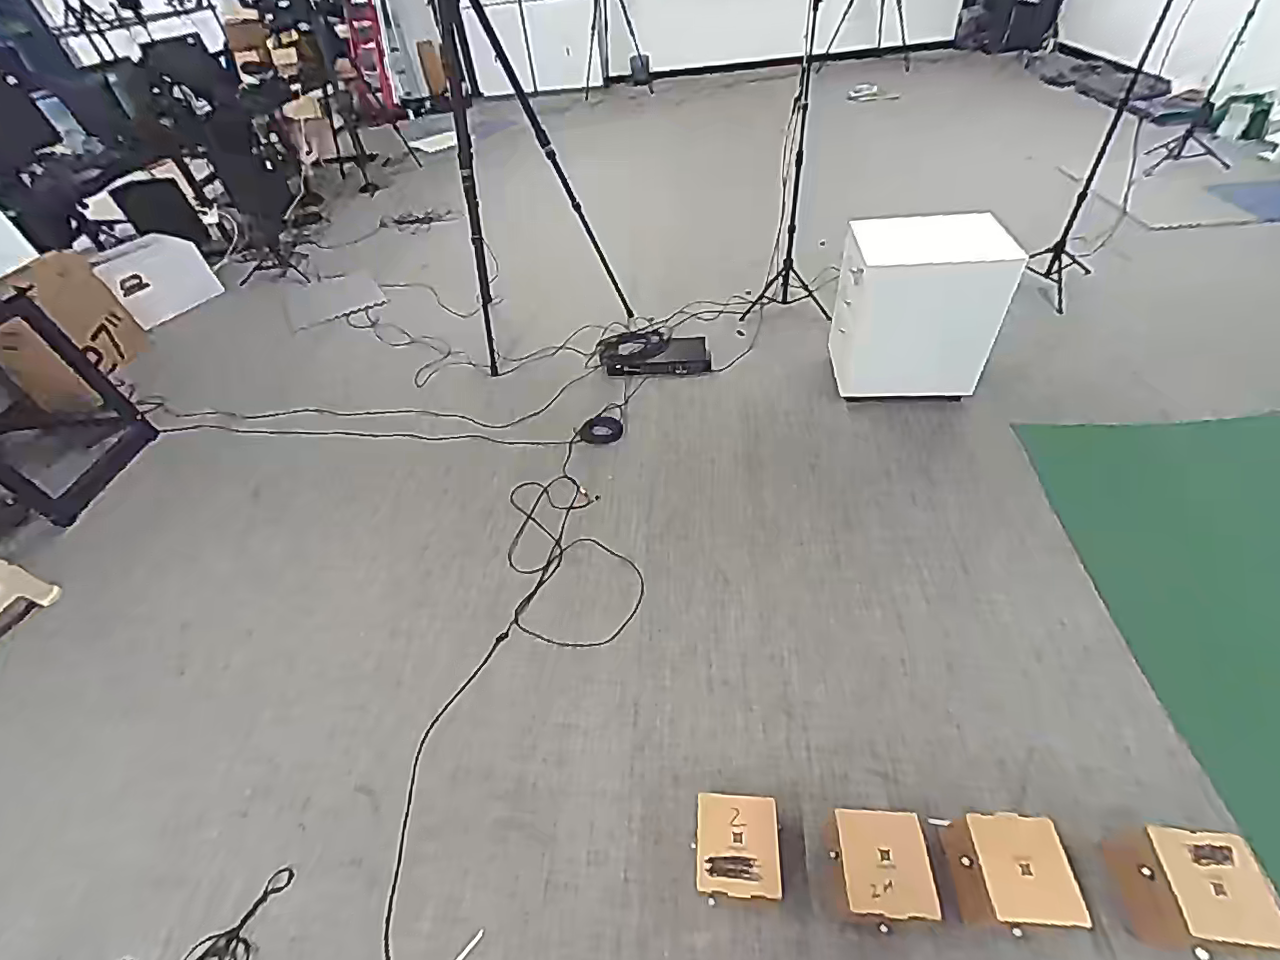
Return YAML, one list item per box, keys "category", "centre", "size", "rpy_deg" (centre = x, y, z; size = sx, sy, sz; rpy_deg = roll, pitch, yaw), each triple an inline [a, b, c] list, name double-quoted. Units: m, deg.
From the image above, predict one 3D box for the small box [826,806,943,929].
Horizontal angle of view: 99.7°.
- category: "small box"
  centre: [0.490, 0.798, 1.115]
  size: [0.168, 0.176, 0.179]
  rpy_deg: [-1, 46, 7]

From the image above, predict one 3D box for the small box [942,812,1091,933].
- category: "small box"
  centre: [0.744, 0.794, 1.091]
  size: [0.168, 0.176, 0.179]
  rpy_deg: [-1, 45, 6]

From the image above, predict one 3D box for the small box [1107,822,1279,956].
- category: "small box"
  centre: [1.067, 0.793, 1.049]
  size: [0.168, 0.176, 0.179]
  rpy_deg: [1, 47, 9]
